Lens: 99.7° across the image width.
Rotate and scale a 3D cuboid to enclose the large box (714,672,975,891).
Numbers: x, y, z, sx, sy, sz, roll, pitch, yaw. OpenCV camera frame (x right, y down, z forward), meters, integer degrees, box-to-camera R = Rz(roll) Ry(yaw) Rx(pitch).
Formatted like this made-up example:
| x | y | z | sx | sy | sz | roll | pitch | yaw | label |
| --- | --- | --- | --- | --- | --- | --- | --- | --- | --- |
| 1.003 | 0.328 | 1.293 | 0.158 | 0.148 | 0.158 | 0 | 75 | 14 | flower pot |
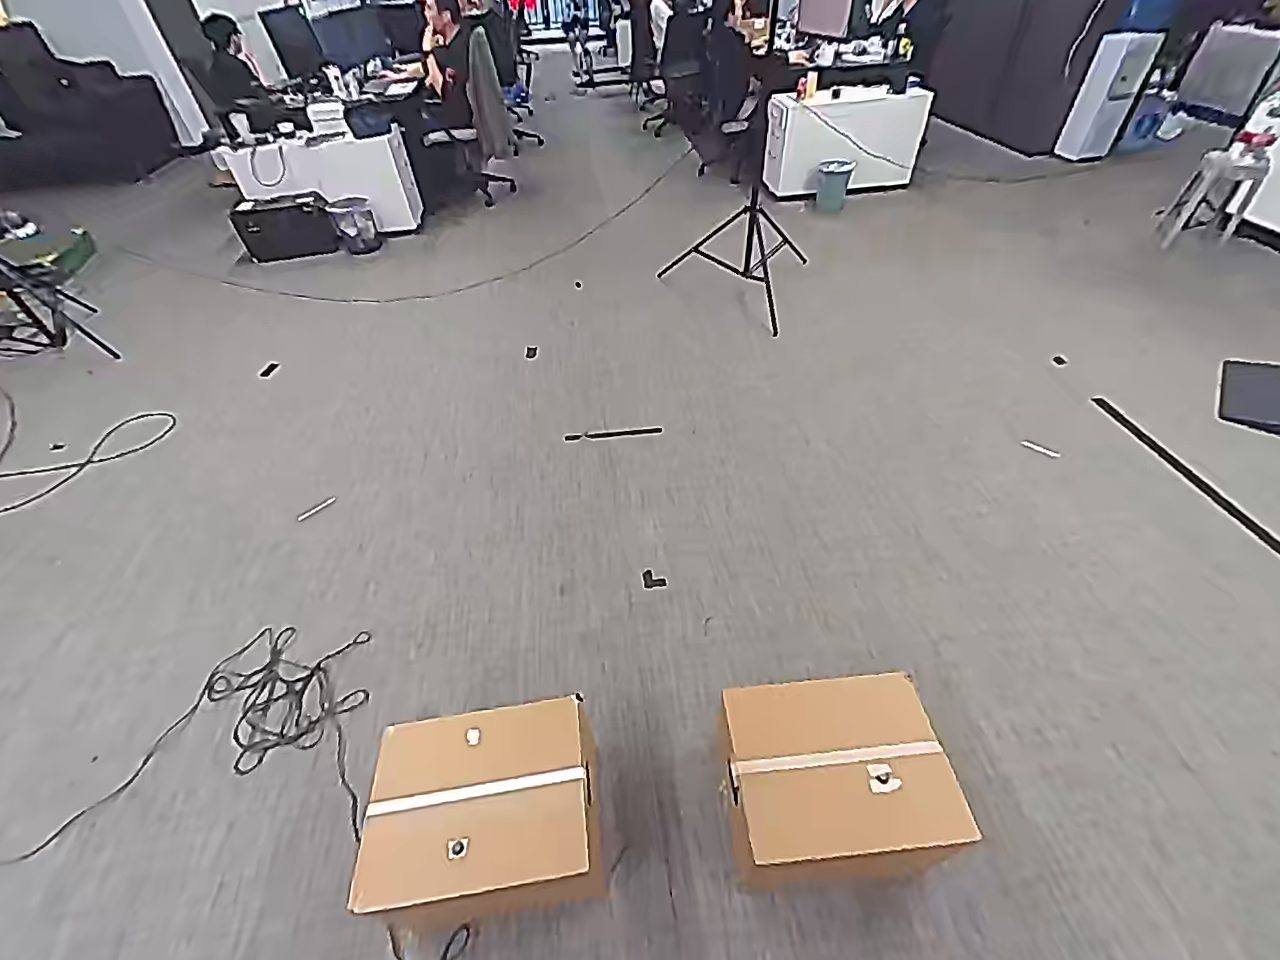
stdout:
| x | y | z | sx | sy | sz | roll | pitch | yaw | label |
| --- | --- | --- | --- | --- | --- | --- | --- | --- | --- |
| 0.391 | 0.645 | 1.159 | 0.408 | 0.320 | 0.320 | -4 | 45 | -2 | large box |
